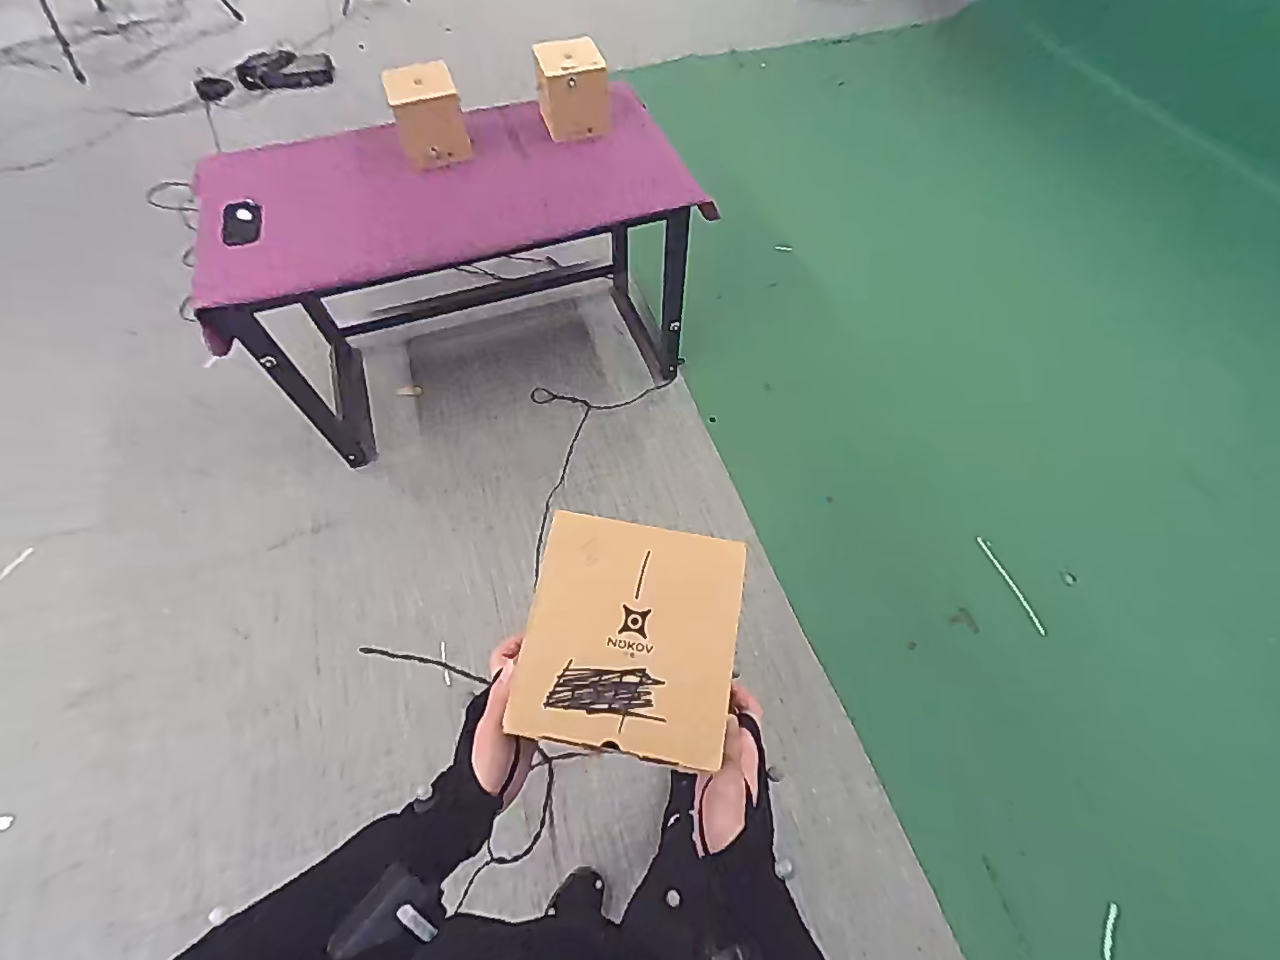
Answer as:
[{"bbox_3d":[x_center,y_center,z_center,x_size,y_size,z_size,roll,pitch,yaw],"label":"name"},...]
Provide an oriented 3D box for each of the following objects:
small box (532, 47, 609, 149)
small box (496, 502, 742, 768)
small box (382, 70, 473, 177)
[{"bbox_3d":[-0.189,-1.049,1.490,0.168,0.176,0.179,-16,61,-8],"label":"small box"},{"bbox_3d":[-0.011,0.139,0.492,0.168,0.176,0.179,10,70,3],"label":"small box"},{"bbox_3d":[-0.557,-0.938,1.426,0.168,0.176,0.179,-18,62,-9],"label":"small box"}]
